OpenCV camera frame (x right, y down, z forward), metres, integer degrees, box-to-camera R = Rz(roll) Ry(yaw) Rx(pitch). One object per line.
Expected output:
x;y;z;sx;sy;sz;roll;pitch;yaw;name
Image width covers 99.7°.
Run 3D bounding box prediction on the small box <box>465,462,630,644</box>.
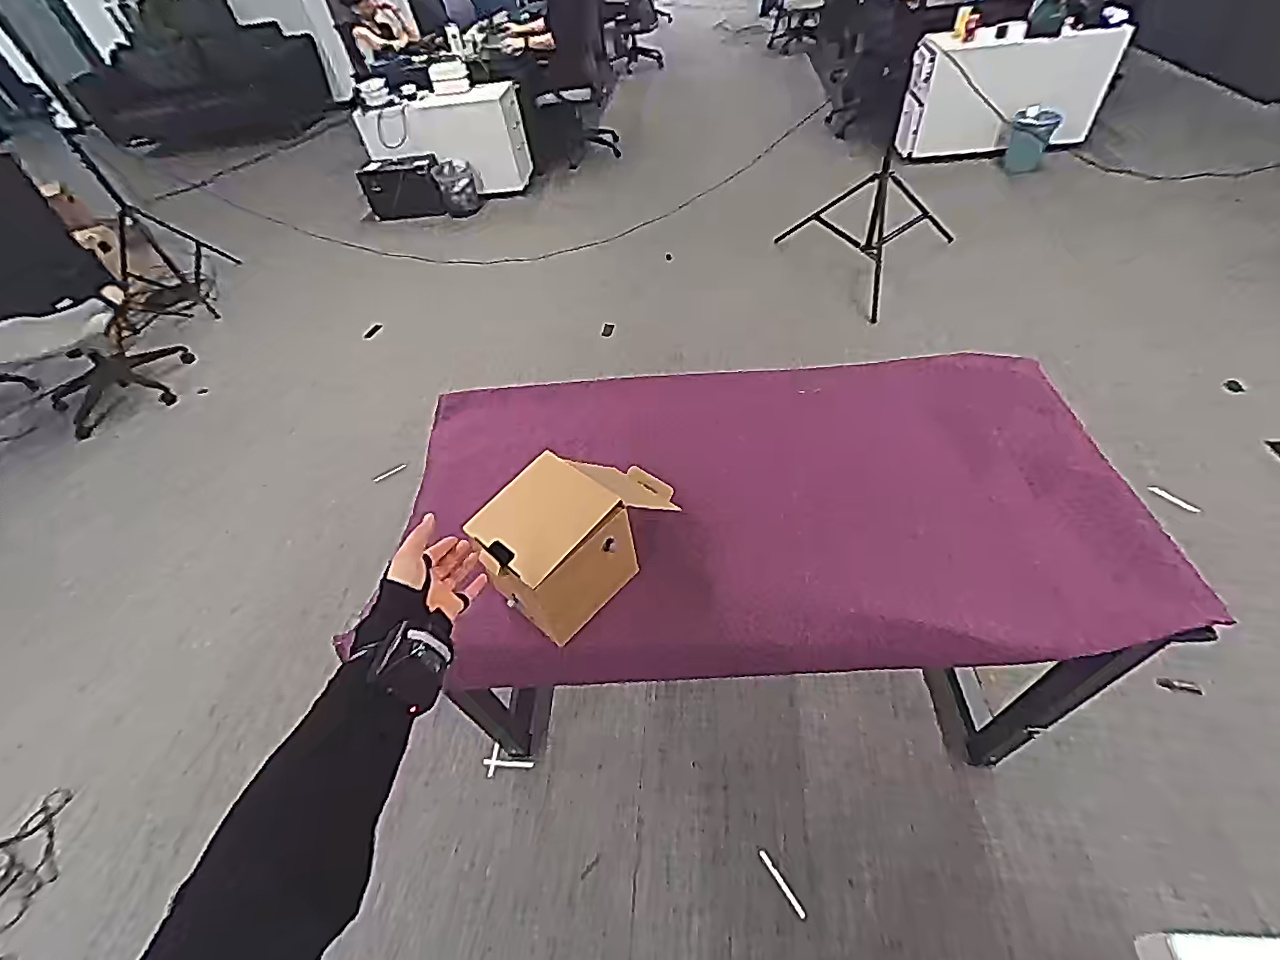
-0.129;0.111;0.829;0.168;0.176;0.179;31;58;32;small box
